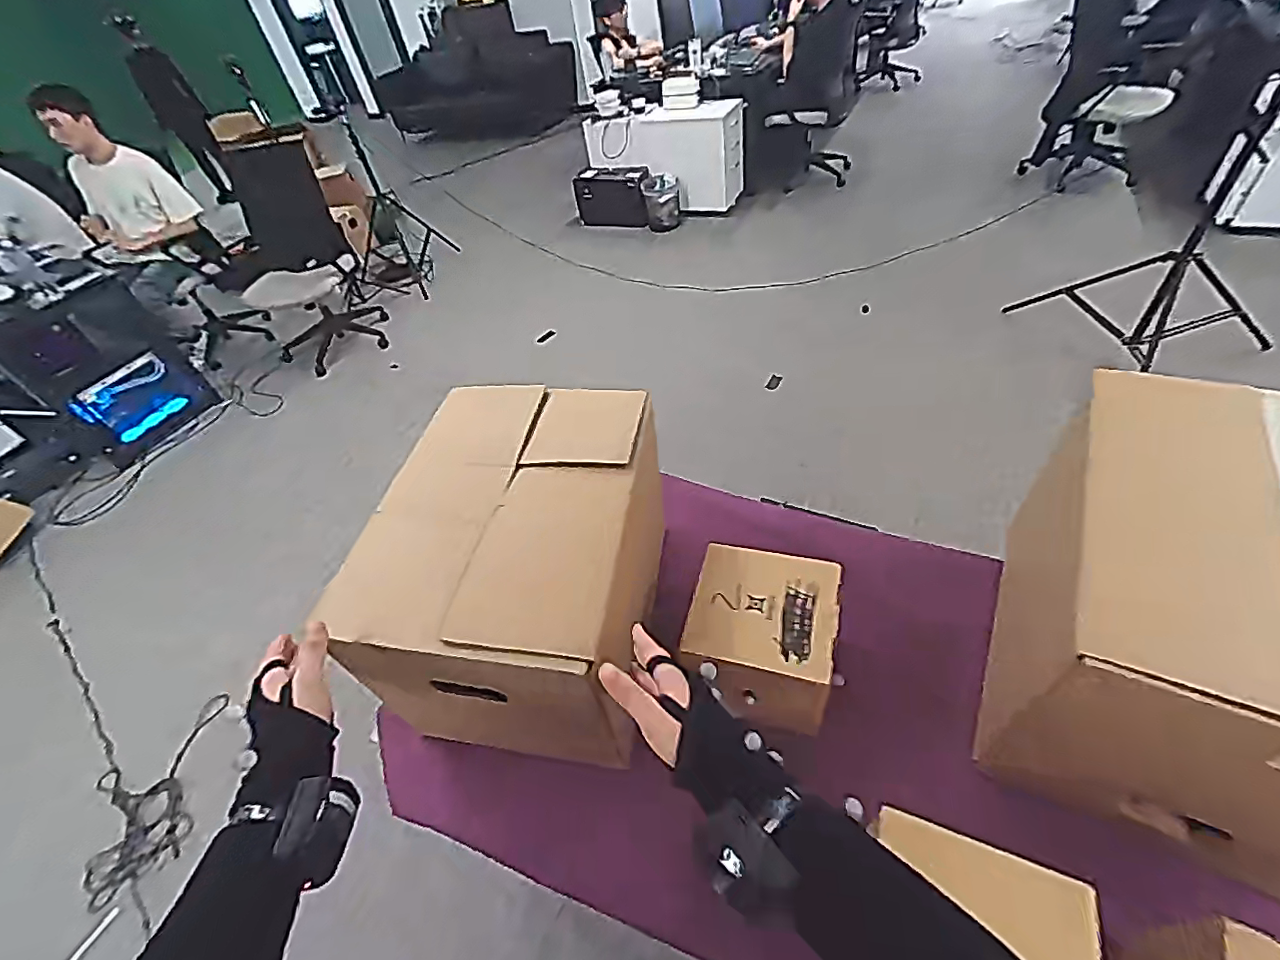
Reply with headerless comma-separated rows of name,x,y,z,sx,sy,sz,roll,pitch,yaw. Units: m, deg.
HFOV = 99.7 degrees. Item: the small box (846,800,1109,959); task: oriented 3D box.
small box,0.282,0.428,0.480,0.168,0.176,0.179,12,51,22
